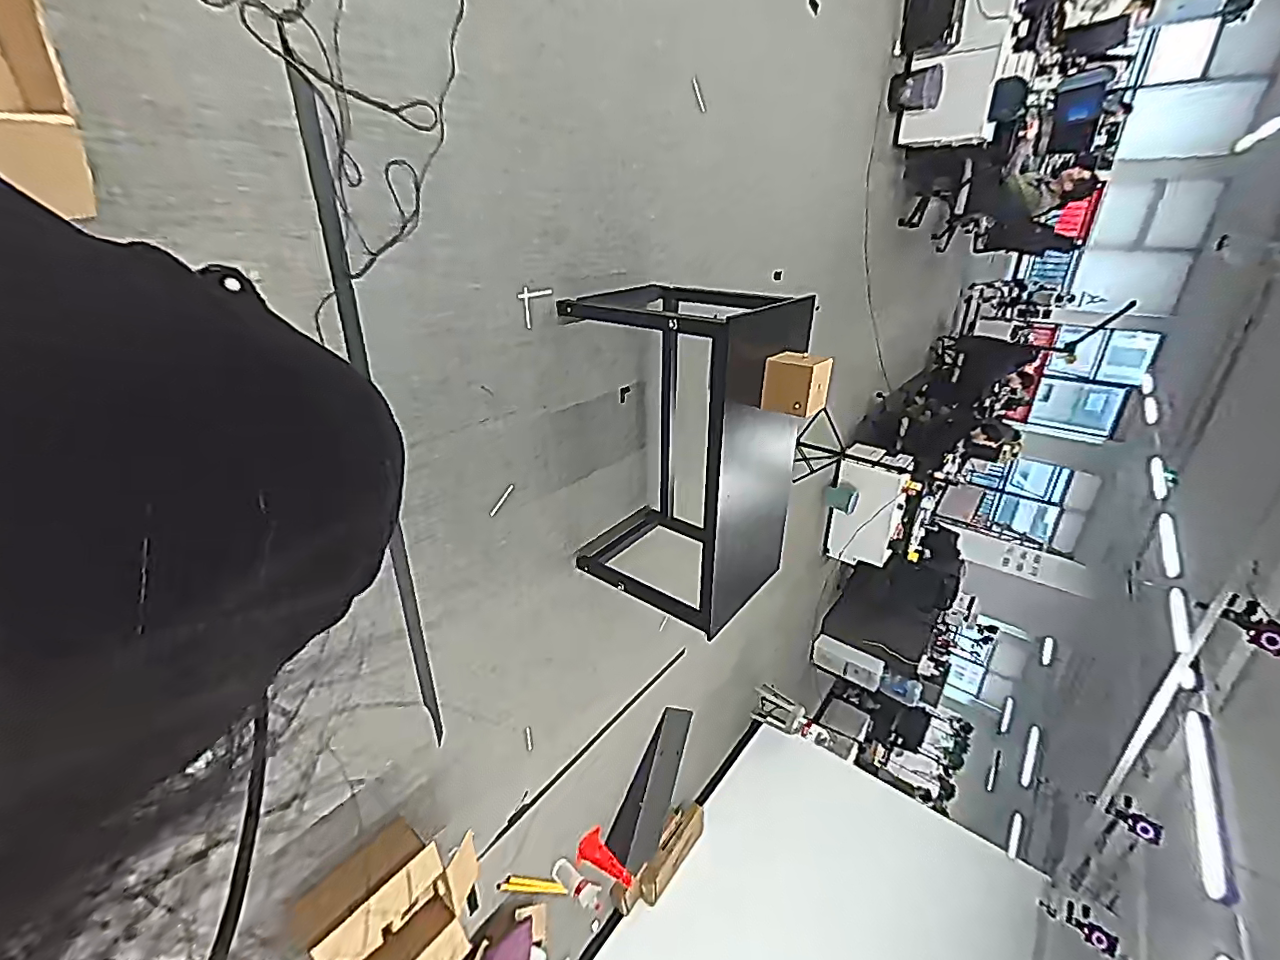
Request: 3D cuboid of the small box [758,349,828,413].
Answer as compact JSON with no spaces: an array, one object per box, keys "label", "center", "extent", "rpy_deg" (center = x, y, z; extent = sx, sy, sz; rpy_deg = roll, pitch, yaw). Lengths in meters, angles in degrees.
[{"label":"small box","center":[0.515,-0.343,1.835],"extent":[0.168,0.176,0.179],"rpy_deg":[-28,127,-45]}]
